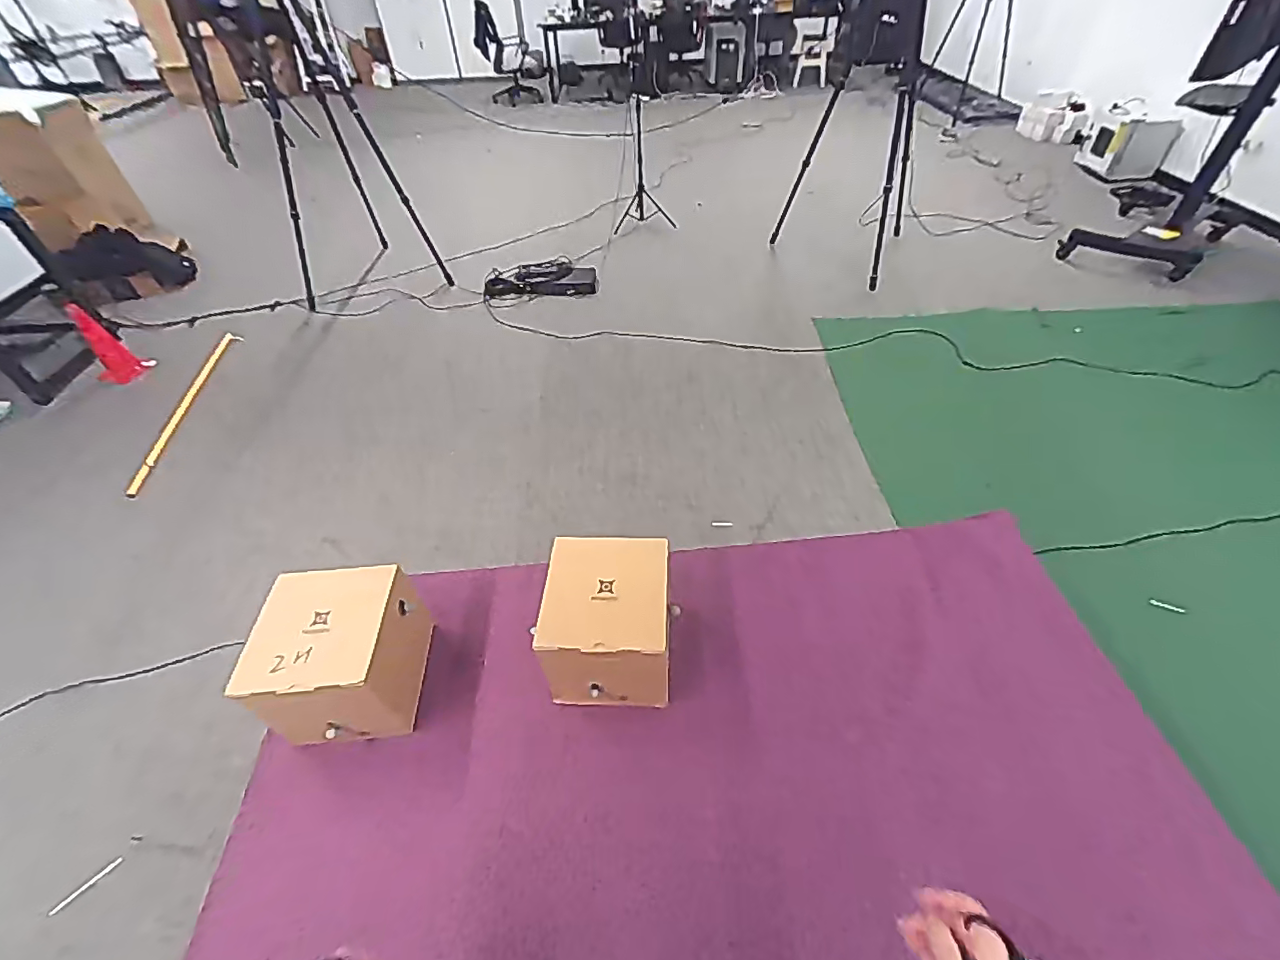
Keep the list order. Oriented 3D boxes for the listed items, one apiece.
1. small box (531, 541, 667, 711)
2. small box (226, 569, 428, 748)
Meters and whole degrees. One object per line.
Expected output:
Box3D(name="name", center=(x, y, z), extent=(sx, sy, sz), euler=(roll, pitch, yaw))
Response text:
Box3D(name="small box", center=(-0.047, 0.208, 0.776), extent=(0.168, 0.176, 0.179), euler=(1, 47, 4))
Box3D(name="small box", center=(-0.411, 0.248, 0.753), extent=(0.168, 0.176, 0.179), euler=(-5, 46, -1))
